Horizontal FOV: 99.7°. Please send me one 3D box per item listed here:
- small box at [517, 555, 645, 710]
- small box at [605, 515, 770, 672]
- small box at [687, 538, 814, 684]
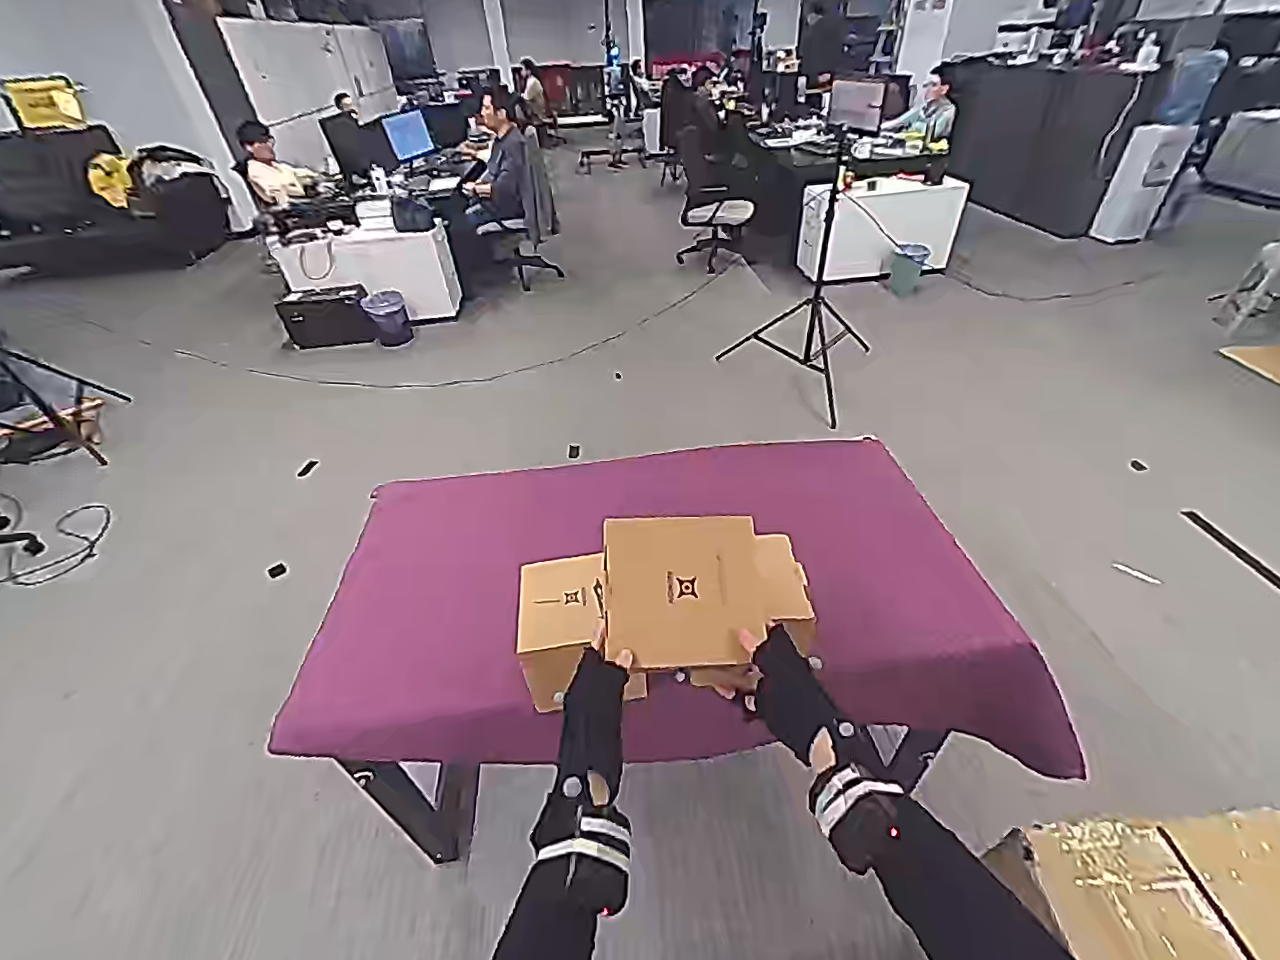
[{"bbox_3d":[-0.088,0.241,0.860,0.179,0.176,0.168,-8,38,-2],"label":"small box"},{"bbox_3d":[0.046,0.147,0.673,0.179,0.176,0.168,-1,70,-5],"label":"small box"},{"bbox_3d":[0.161,0.212,0.874,0.179,0.176,0.168,-3,38,1],"label":"small box"}]
